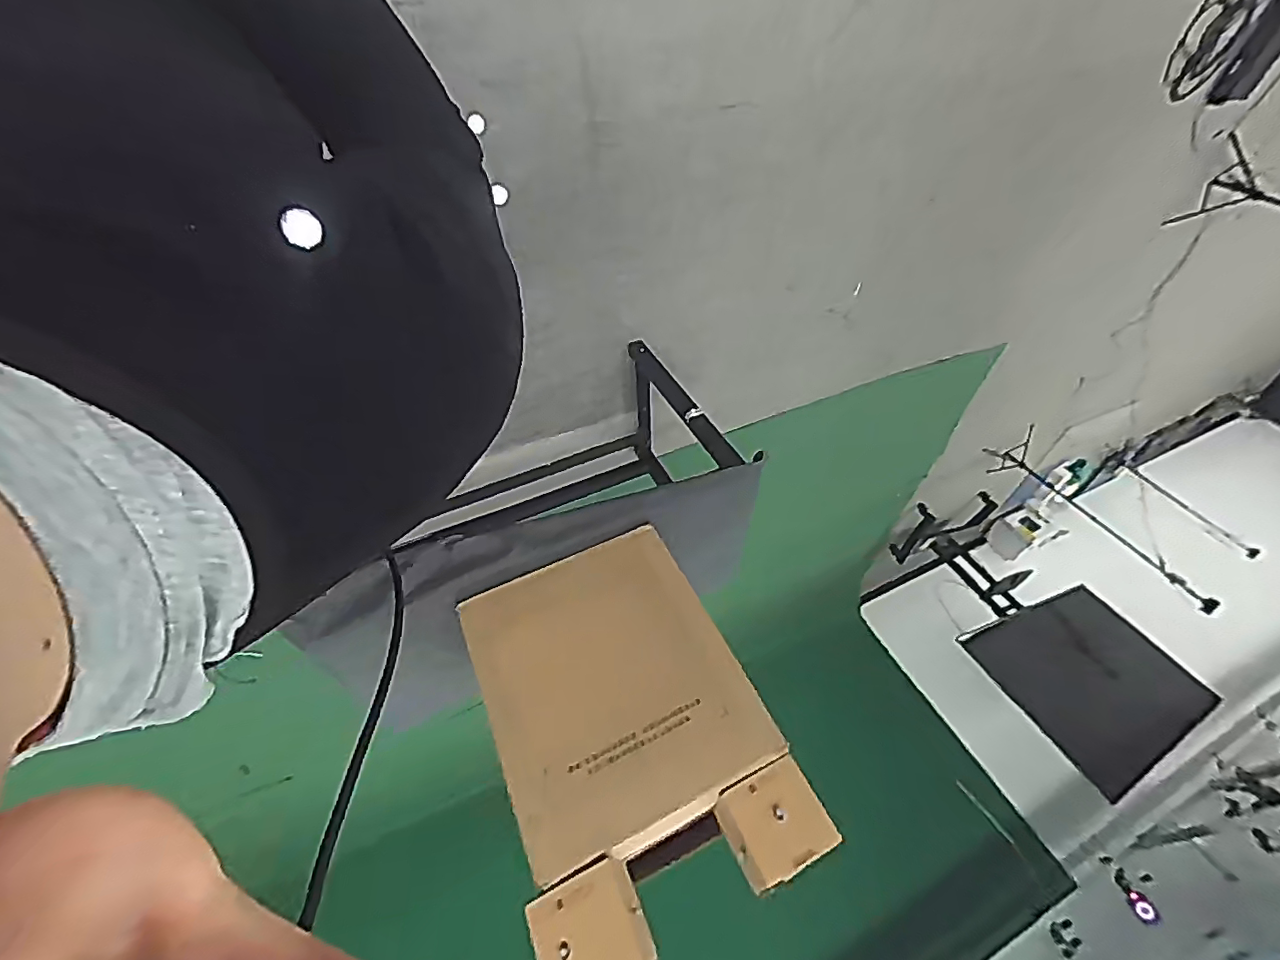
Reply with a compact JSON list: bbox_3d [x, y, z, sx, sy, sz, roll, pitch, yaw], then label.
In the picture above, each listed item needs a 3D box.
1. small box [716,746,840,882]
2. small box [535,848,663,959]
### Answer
[{"bbox_3d":[0.270,0.674,1.101,0.168,0.176,0.179,-22,142,-16],"label":"small box"},{"bbox_3d":[-0.074,0.803,0.987,0.168,0.176,0.179,-25,144,-8],"label":"small box"}]
